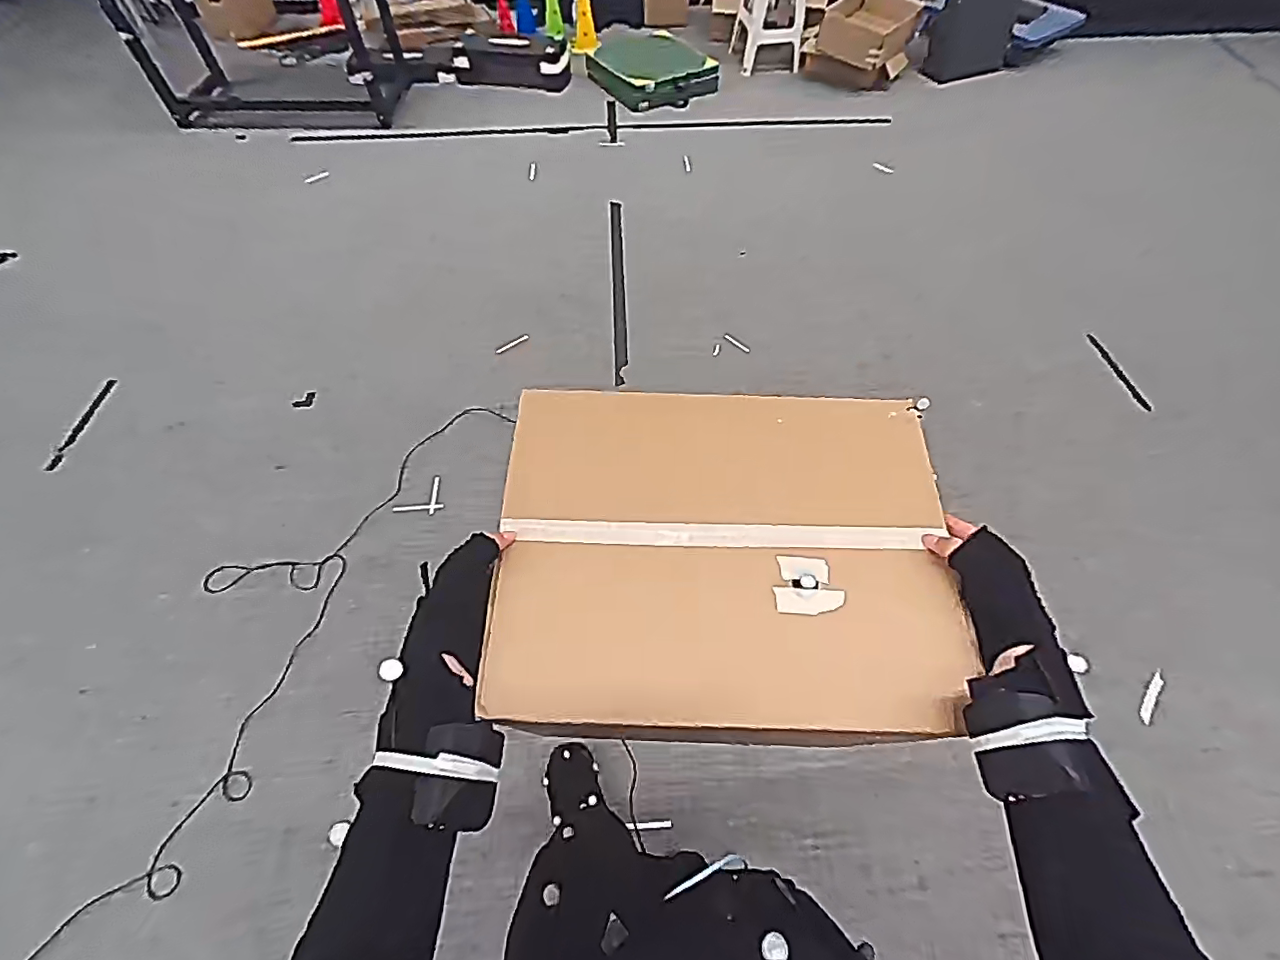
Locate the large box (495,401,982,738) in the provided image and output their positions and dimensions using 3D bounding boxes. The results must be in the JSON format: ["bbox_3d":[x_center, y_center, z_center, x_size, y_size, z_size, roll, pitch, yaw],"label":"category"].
[{"bbox_3d":[0.076,0.124,0.631,0.408,0.320,0.320,1,63,-1],"label":"large box"}]
